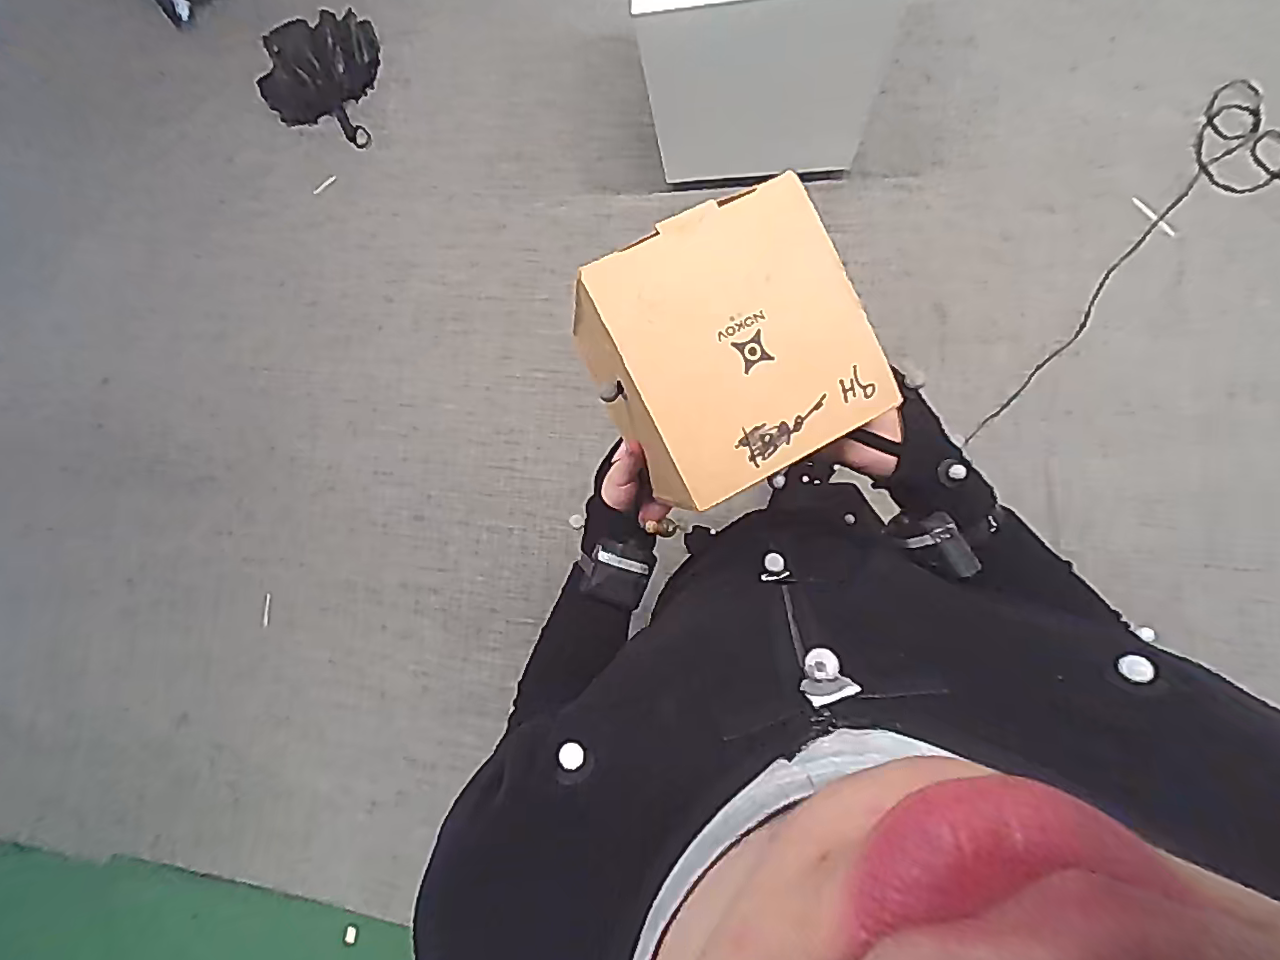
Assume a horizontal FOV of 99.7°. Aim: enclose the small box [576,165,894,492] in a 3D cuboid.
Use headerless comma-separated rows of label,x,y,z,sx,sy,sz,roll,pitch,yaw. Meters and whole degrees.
small box,0.056,-0.101,0.438,0.168,0.176,0.179,-28,94,-7
